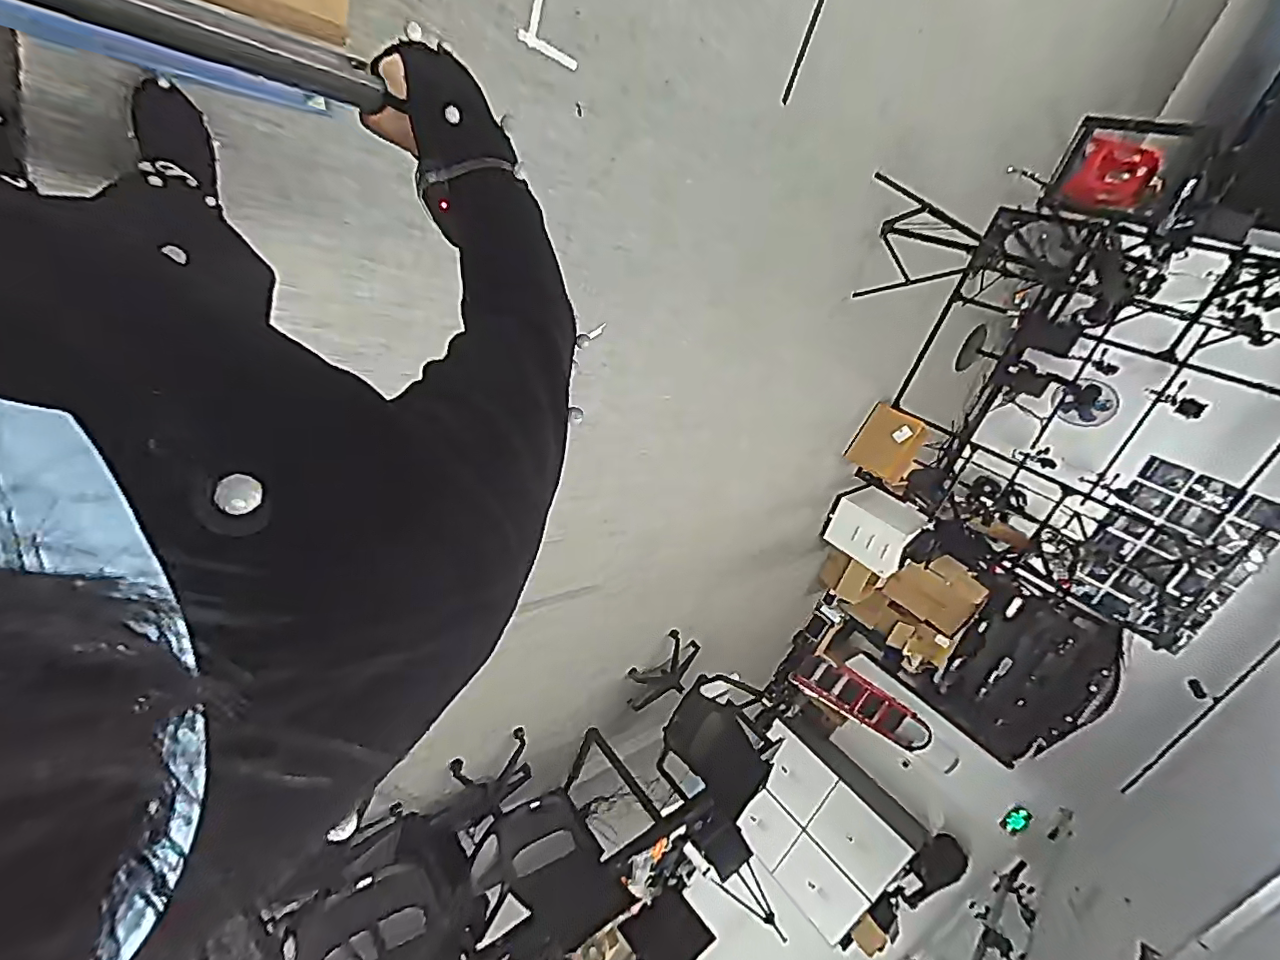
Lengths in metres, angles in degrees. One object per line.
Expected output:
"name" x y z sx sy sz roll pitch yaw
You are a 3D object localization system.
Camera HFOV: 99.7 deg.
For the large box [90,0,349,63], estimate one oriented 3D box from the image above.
"large box" -0.606 -0.741 0.628 0.408 0.320 0.320 -11 126 -43
